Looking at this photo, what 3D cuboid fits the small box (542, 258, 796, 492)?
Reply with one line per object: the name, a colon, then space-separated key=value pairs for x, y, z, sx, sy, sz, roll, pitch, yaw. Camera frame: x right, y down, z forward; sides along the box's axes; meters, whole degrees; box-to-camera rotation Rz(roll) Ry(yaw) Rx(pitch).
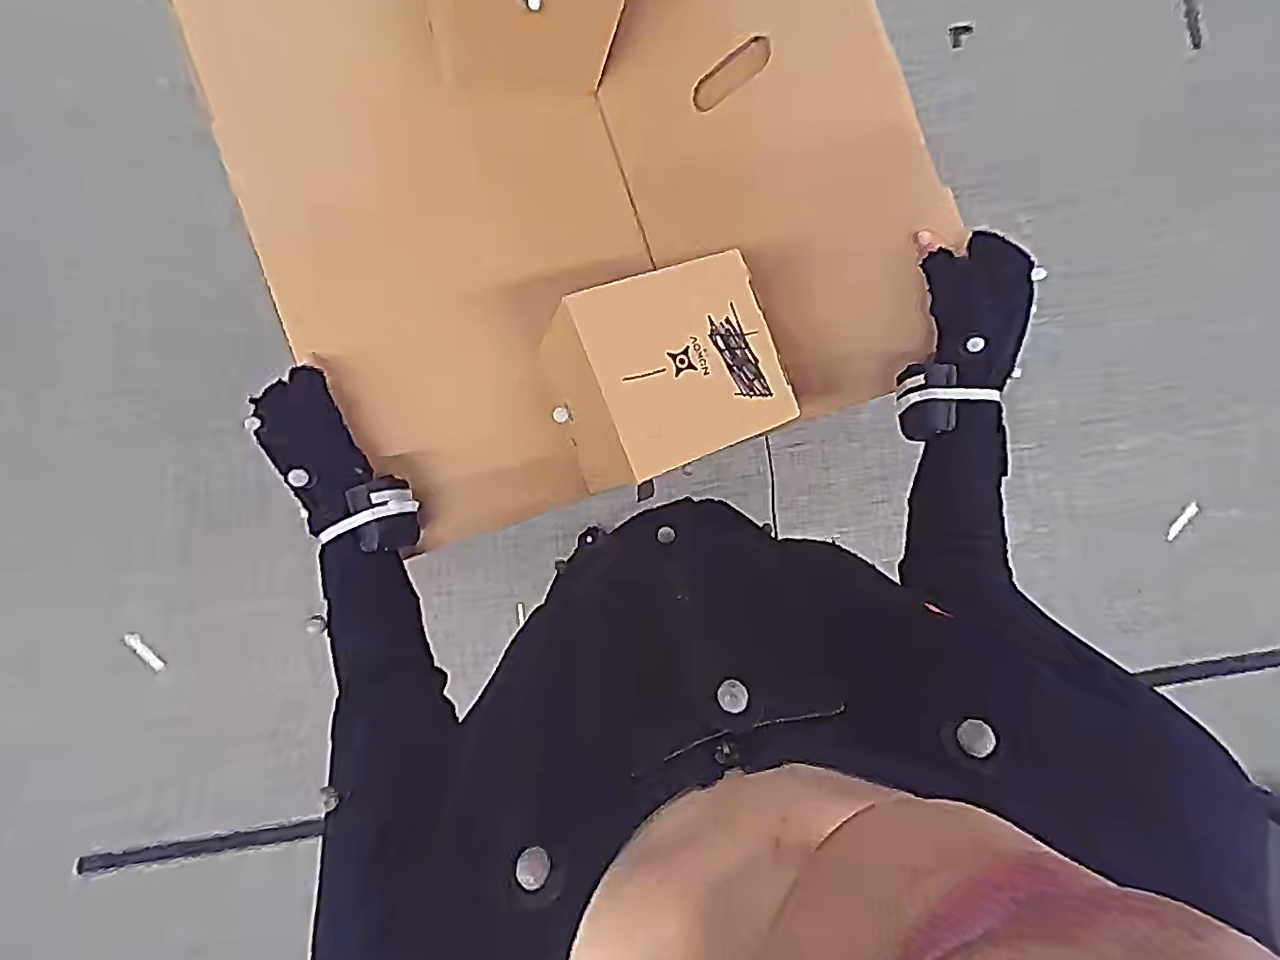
small box: x=0.018 y=-0.094 z=0.548 sx=0.179 sy=0.176 sz=0.168 roll=-22 pitch=92 yaw=-18
